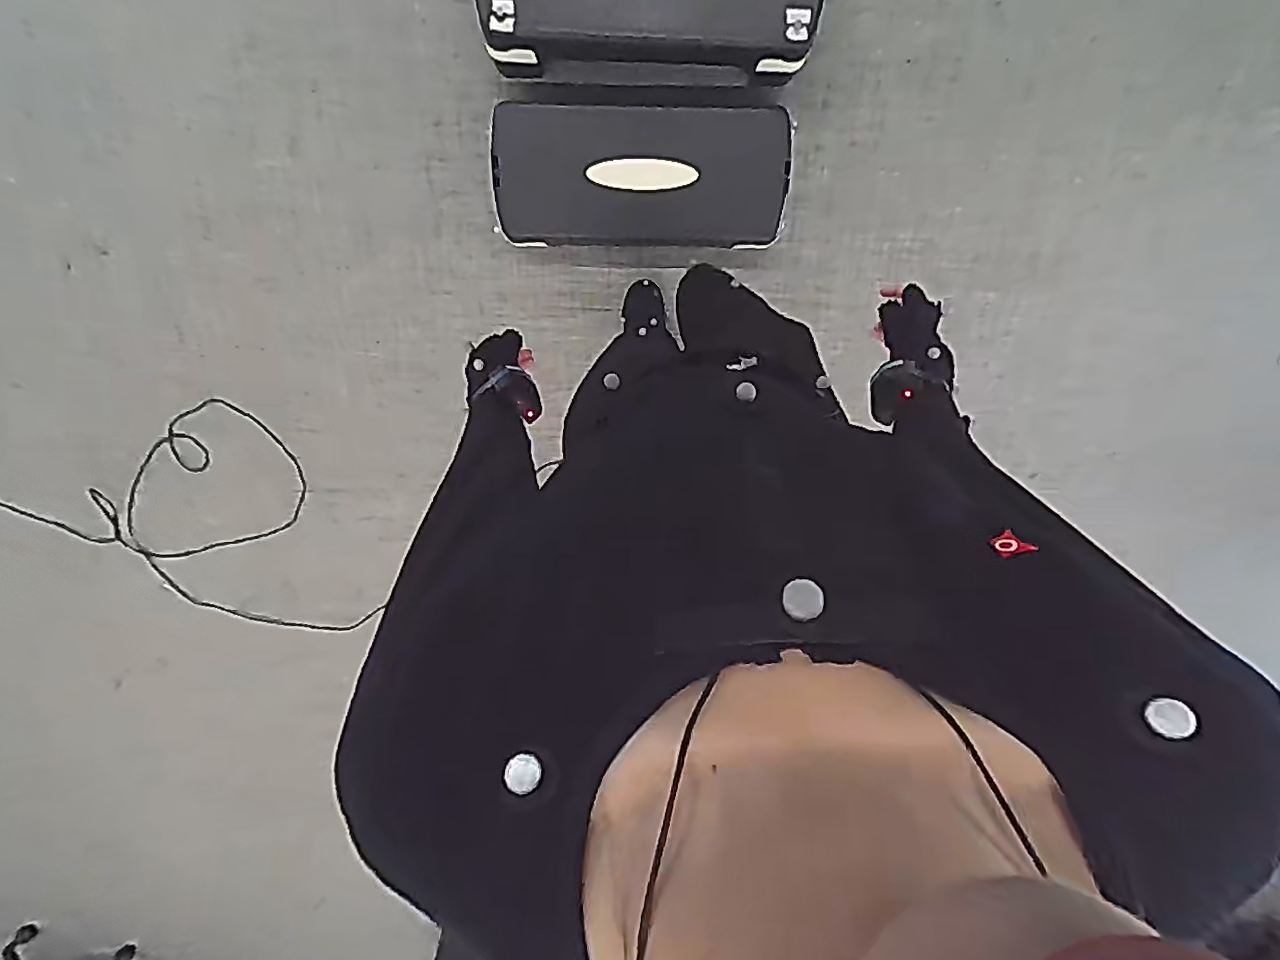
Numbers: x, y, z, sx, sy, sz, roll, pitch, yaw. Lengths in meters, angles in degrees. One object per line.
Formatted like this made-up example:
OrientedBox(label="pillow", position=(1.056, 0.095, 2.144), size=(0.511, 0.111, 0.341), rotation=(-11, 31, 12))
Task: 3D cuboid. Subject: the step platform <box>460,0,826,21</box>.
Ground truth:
OrientedBox(label="step platform", position=(0.002, -0.943, 0.864), size=(0.684, 0.204, 0.286), rotation=(0, 111, -1))
